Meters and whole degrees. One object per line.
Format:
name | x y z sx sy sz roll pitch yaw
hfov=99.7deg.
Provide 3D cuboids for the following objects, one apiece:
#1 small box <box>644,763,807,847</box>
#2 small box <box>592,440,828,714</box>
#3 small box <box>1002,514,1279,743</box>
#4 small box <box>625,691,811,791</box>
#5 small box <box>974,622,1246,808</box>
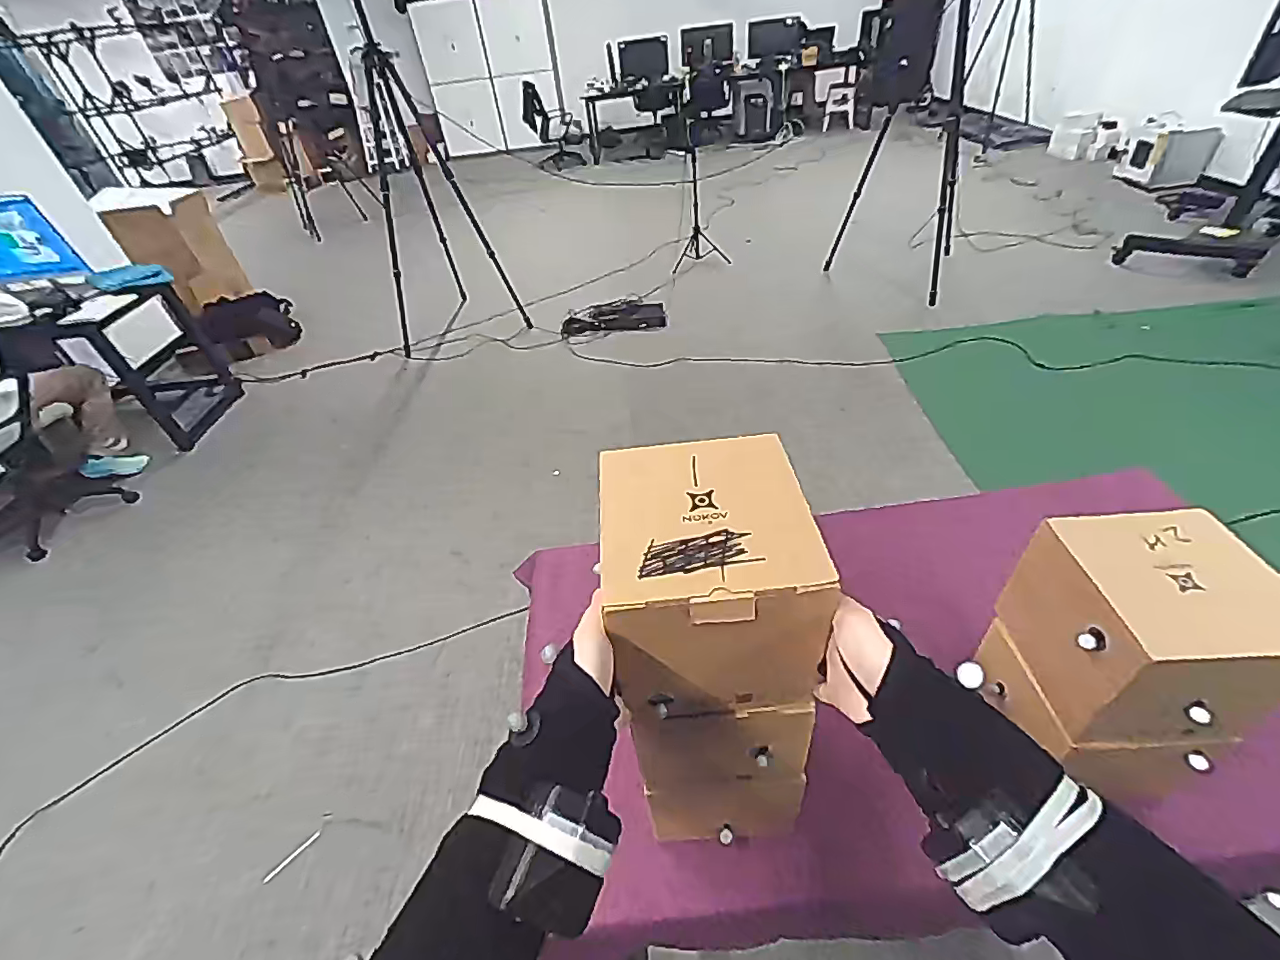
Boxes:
small box | 0.097 0.343 0.686 0.179 0.176 0.168 -6 40 3
small box | 0.053 0.090 0.480 0.168 0.176 0.179 -6 40 1
small box | 0.525 0.158 0.567 0.168 0.176 0.179 -4 40 5
small box | 0.079 0.216 0.584 0.168 0.176 0.179 -5 40 4
small box | 0.546 0.287 0.669 0.179 0.176 0.168 -5 40 4
